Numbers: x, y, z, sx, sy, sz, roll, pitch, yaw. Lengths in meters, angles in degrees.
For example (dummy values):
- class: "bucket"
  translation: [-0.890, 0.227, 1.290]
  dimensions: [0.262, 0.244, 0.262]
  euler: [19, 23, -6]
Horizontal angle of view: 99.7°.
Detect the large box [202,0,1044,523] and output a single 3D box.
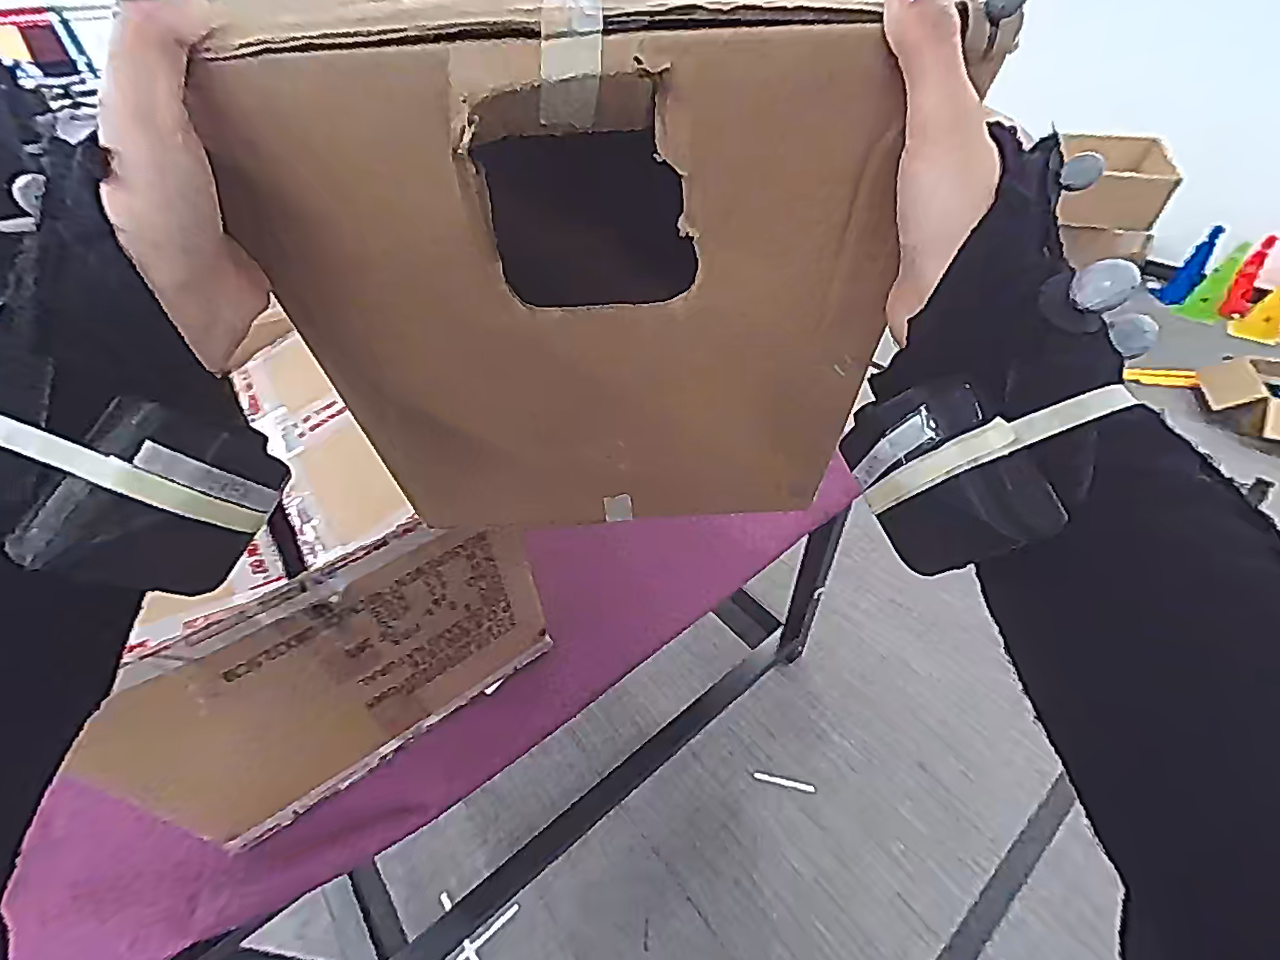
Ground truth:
- class: "large box"
  translation: [-0.015, -0.220, 0.427]
  dimensions: [0.320, 0.320, 0.408]
  euler: [-4, 54, 0]
